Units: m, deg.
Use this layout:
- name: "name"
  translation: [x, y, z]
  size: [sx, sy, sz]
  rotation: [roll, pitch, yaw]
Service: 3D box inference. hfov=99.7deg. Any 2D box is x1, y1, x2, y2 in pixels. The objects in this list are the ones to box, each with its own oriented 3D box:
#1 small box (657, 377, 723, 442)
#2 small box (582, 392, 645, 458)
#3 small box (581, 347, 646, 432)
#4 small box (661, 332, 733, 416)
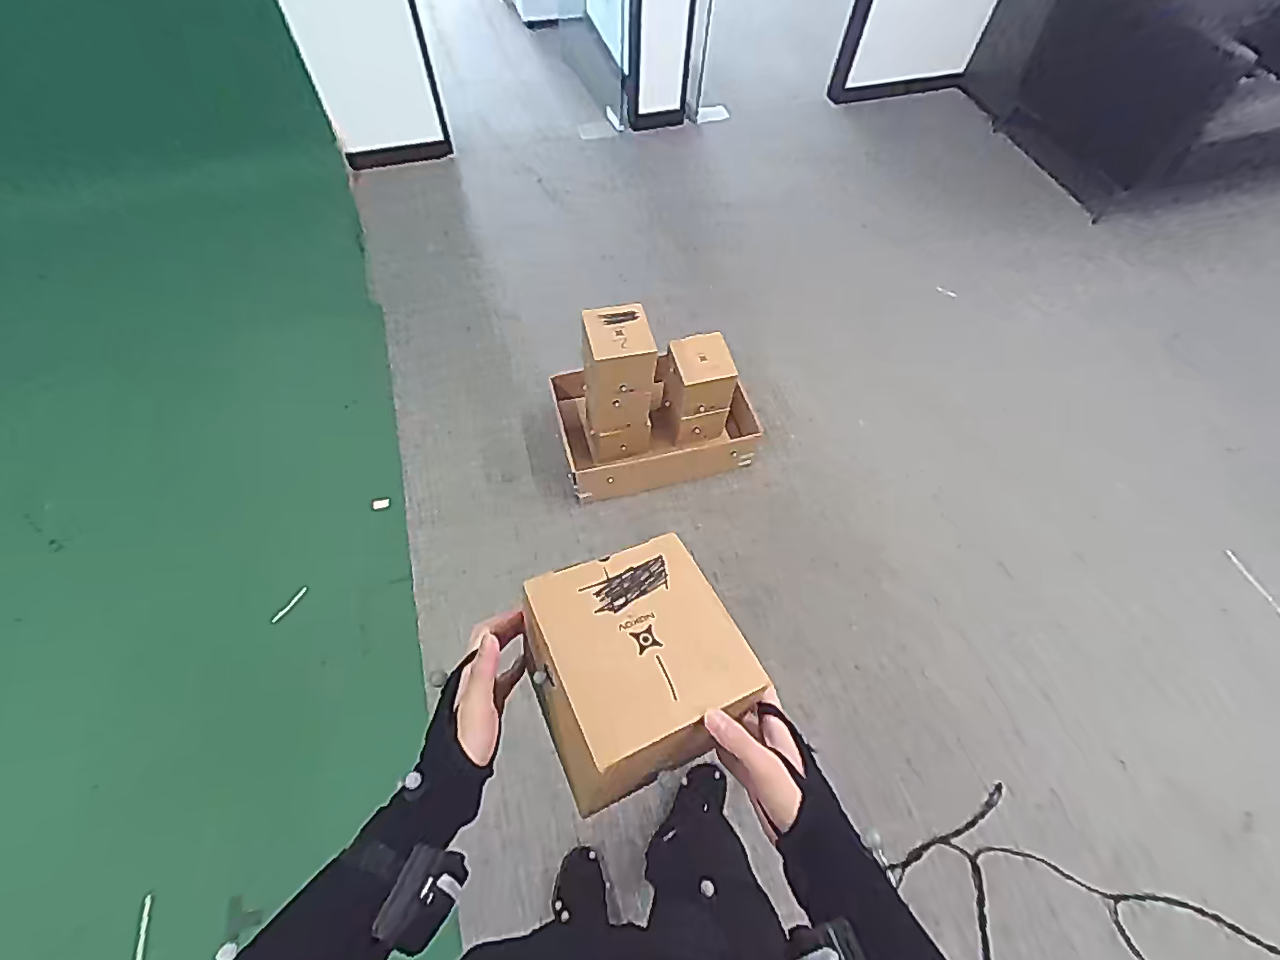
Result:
- name: "small box"
  translation: [0.162, -0.244, 1.807]
  size: [0.168, 0.176, 0.179]
  rotation: [-13, 63, -11]
- name: "small box"
  translation: [-0.089, -0.188, 1.757]
  size: [0.168, 0.176, 0.179]
  rotation: [-13, 63, -13]
- name: "small box"
  translation: [-0.083, -0.269, 1.614]
  size: [0.168, 0.176, 0.179]
  rotation: [-9, 61, -9]
- name: "small box"
  translation: [0.168, -0.326, 1.666]
  size: [0.168, 0.176, 0.179]
  rotation: [-12, 63, -8]
